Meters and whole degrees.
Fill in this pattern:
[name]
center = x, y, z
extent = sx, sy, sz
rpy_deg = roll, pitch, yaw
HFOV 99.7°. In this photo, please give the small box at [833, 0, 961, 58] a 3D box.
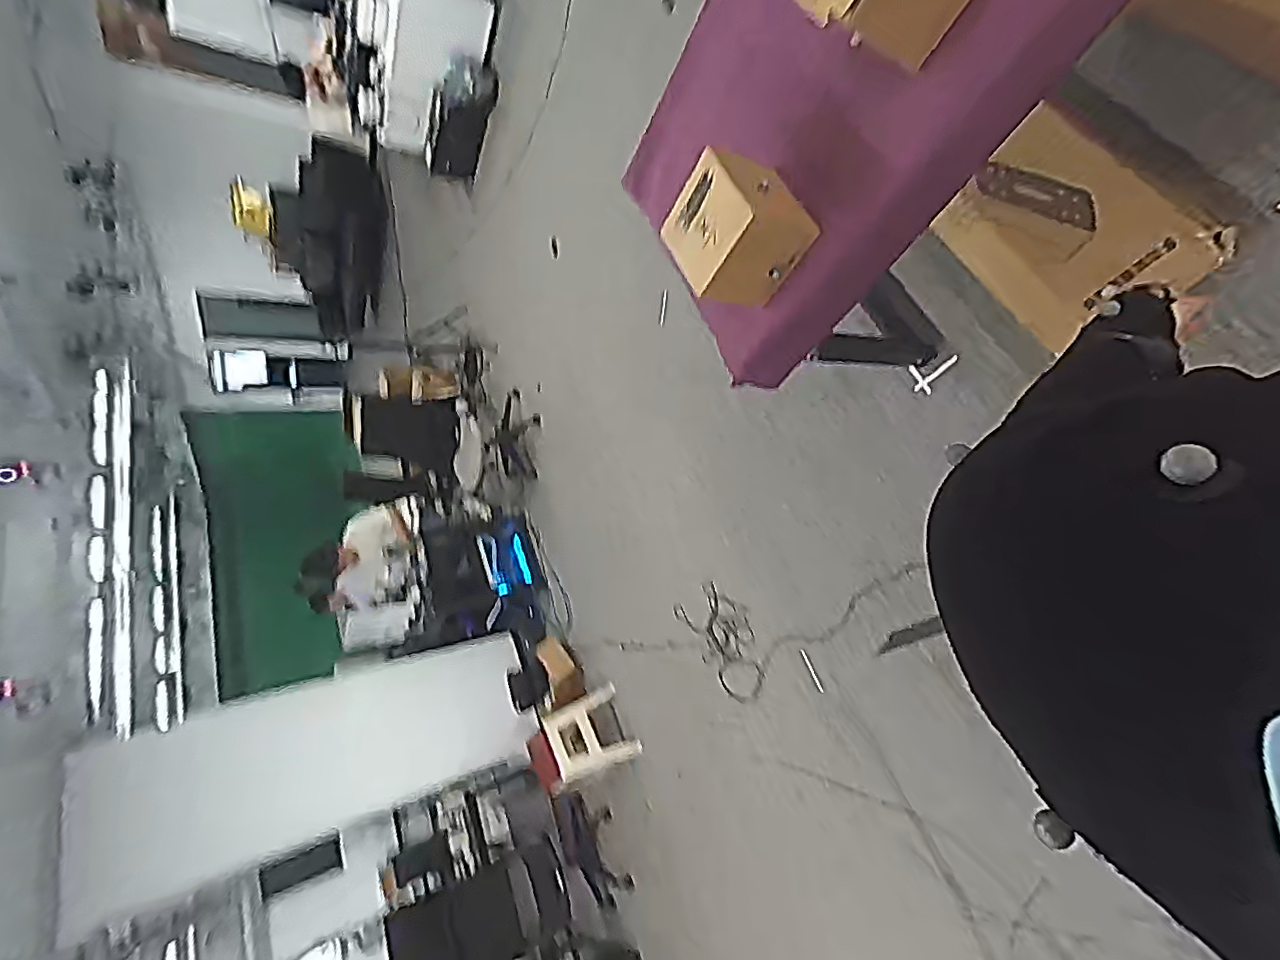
[small box]
center = 0.328, -0.685, 0.673
extent = 0.179, 0.176, 0.168
rpy_deg = -51, 53, 46
